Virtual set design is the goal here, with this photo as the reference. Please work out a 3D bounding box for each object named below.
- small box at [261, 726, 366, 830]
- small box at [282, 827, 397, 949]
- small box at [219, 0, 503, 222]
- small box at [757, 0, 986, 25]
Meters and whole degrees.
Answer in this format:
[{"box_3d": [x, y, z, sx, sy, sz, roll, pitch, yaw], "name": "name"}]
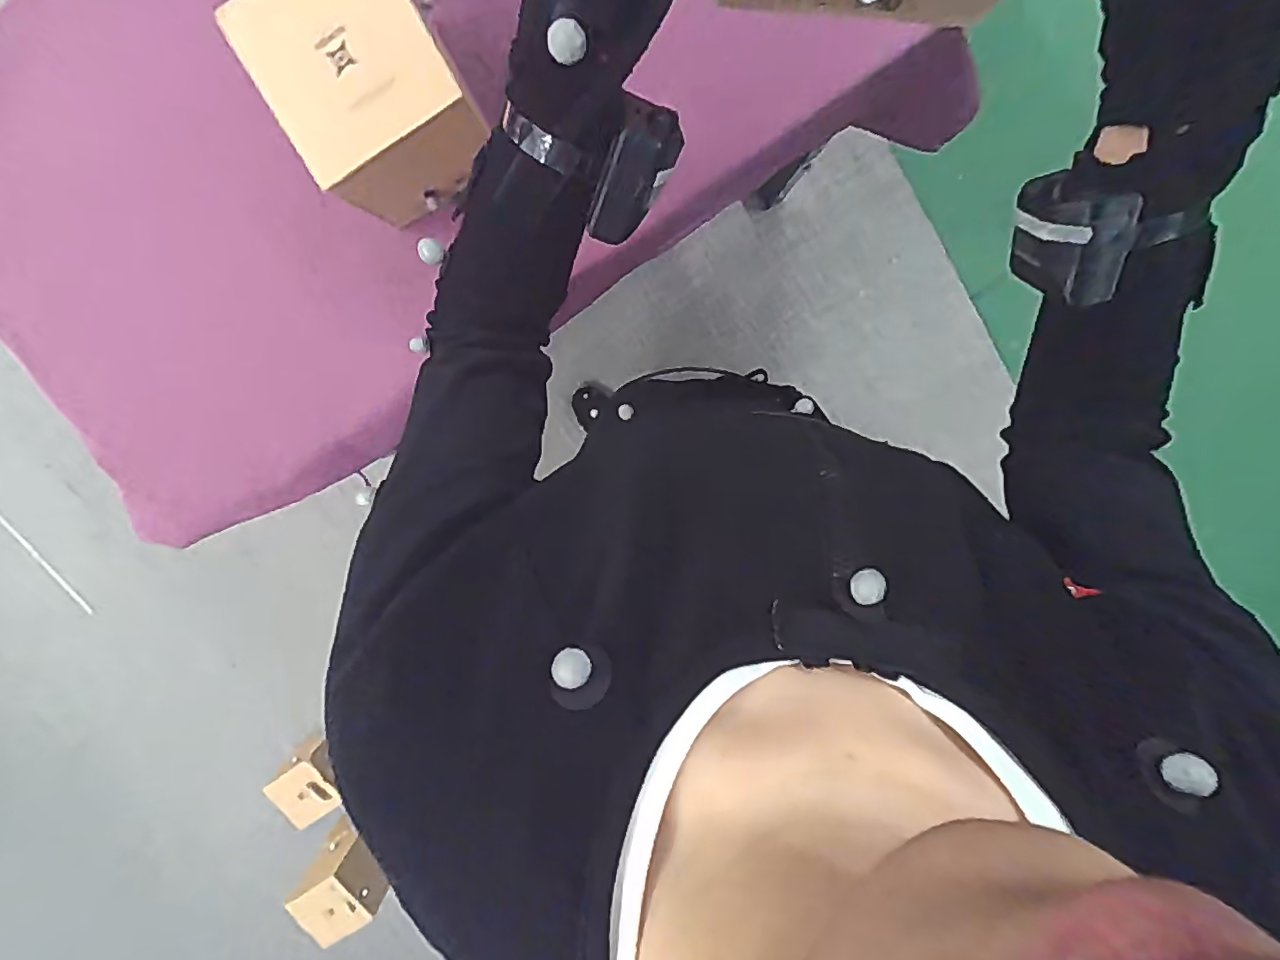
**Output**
[{"box_3d": [-0.937, 0.861, 1.579, 0.179, 0.176, 0.168, -35, 99, 8], "name": "small box"}, {"box_3d": [-0.800, 1.093, 1.459, 0.179, 0.176, 0.168, -34, 99, 8], "name": "small box"}, {"box_3d": [-0.275, -0.413, 0.579, 0.168, 0.176, 0.179, -28, 100, 7], "name": "small box"}, {"box_3d": [0.134, -0.353, 0.236, 0.168, 0.176, 0.179, 6, 106, 1], "name": "small box"}]
